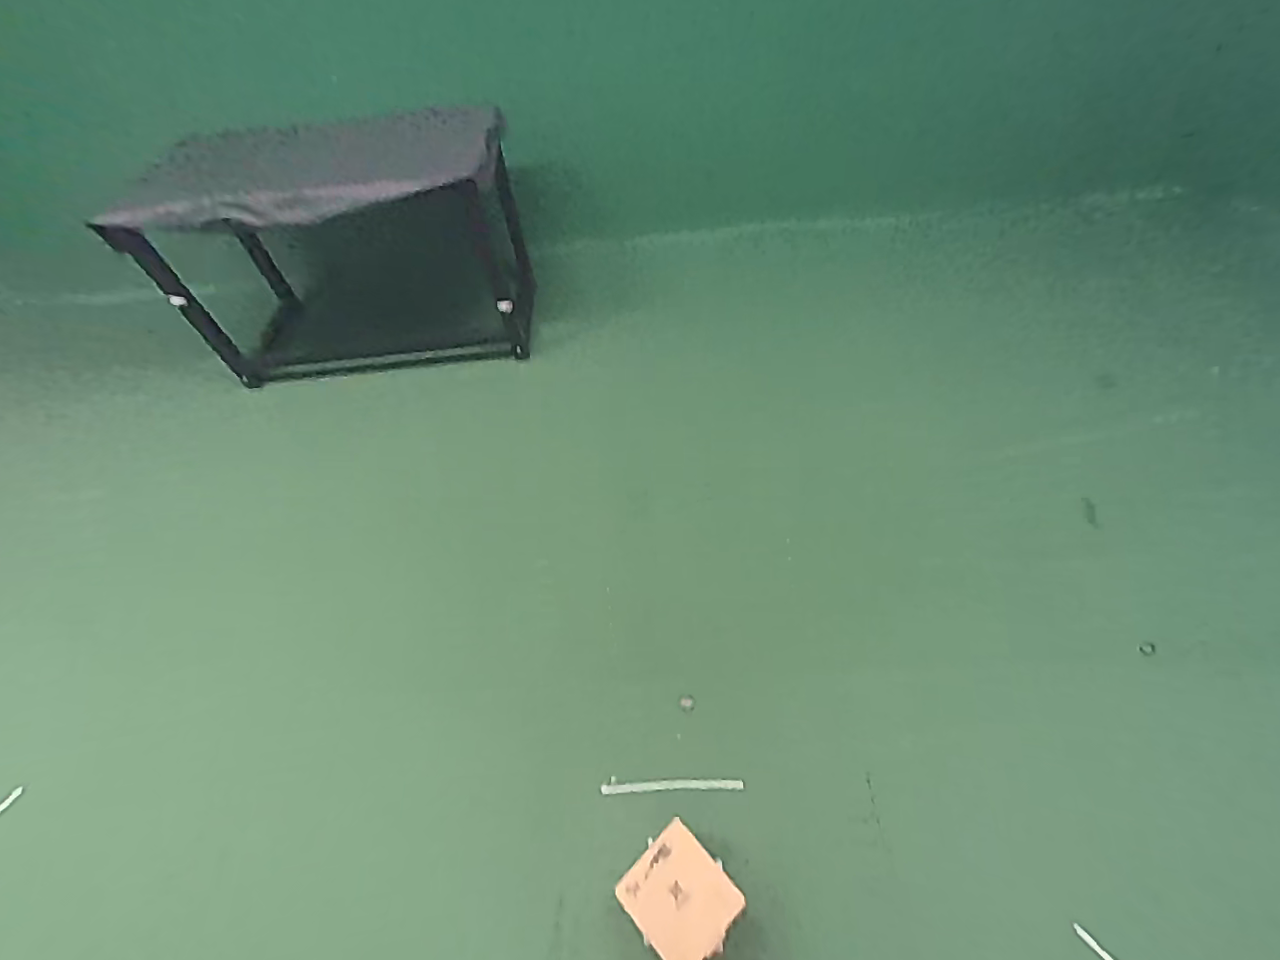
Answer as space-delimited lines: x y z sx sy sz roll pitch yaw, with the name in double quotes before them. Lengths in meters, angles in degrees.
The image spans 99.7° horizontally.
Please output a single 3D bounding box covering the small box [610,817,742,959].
"small box" 0.068 0.774 1.010 0.168 0.176 0.179 -38 57 -22
